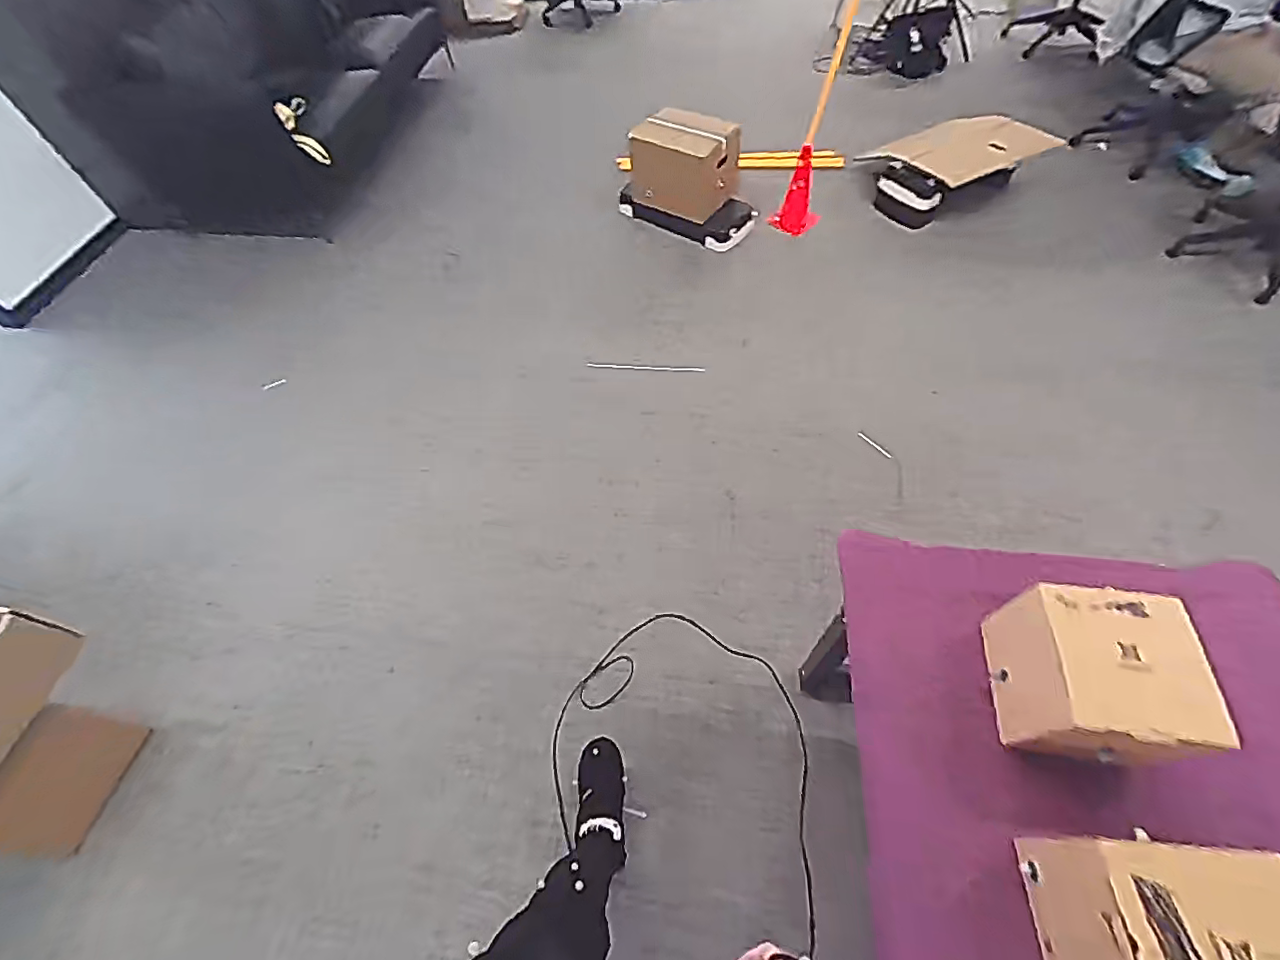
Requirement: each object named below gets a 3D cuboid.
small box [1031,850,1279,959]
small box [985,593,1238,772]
[{"bbox_3d":[0.547,0.489,0.558,0.179,0.176,0.168,2,57,4],"label":"small box"},{"bbox_3d":[0.584,0.268,0.703,0.168,0.176,0.179,6,58,7],"label":"small box"}]
